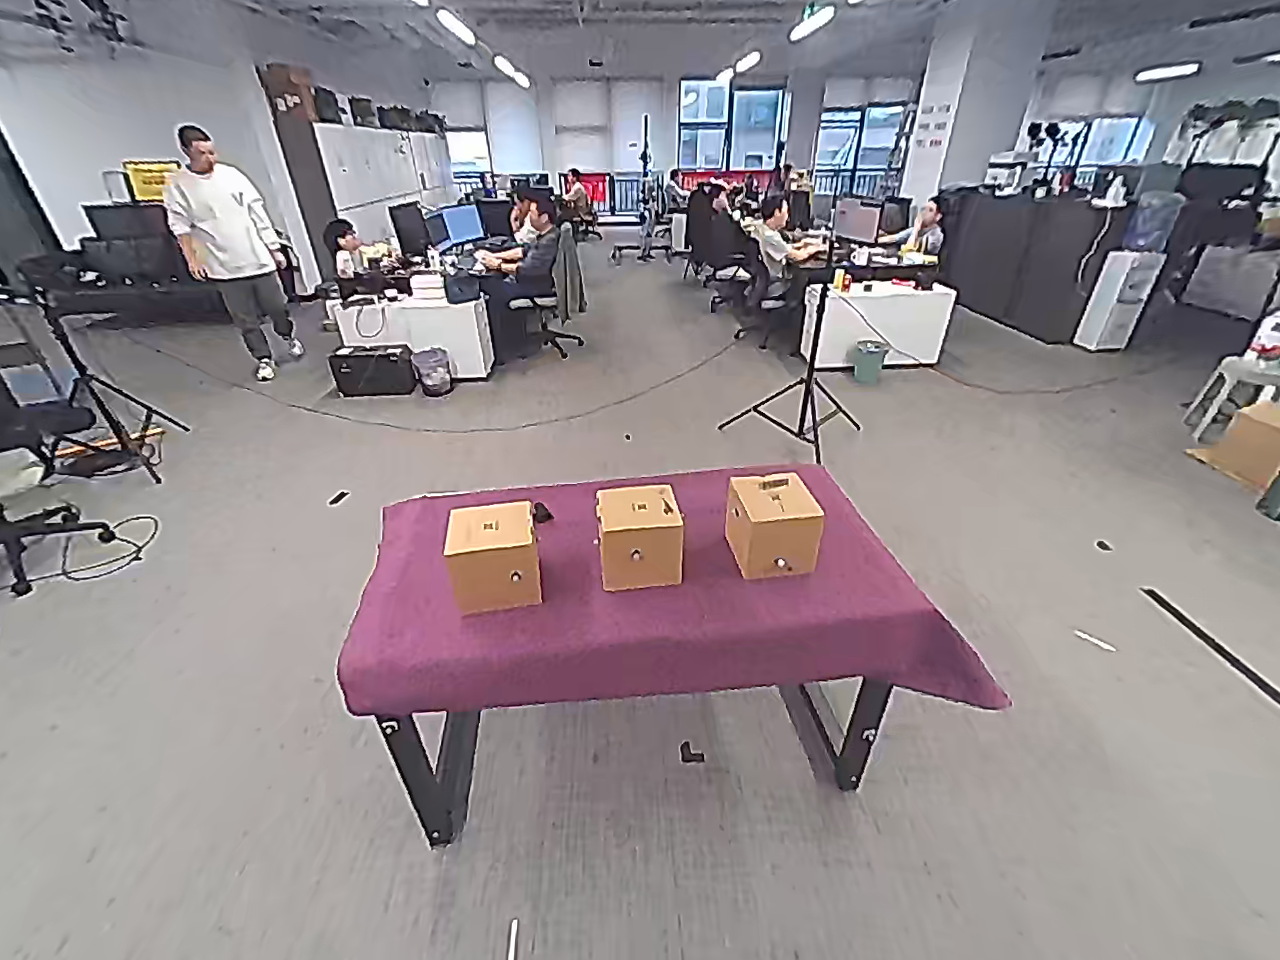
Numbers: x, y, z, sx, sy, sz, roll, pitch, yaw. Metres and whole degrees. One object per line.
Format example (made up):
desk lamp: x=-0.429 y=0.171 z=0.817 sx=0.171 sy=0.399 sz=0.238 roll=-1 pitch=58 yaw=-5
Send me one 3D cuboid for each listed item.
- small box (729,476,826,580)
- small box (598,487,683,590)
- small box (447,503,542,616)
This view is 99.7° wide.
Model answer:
small box: x=0.310 y=0.110 z=1.263 sx=0.168 sy=0.176 sz=0.179 roll=-5 pitch=32 yaw=-5
small box: x=0.001 y=0.134 z=1.236 sx=0.179 sy=0.176 sz=0.168 roll=-5 pitch=31 yaw=-5
small box: x=-0.309 y=0.173 z=1.182 sx=0.179 sy=0.176 sz=0.168 roll=-8 pitch=30 yaw=-9
